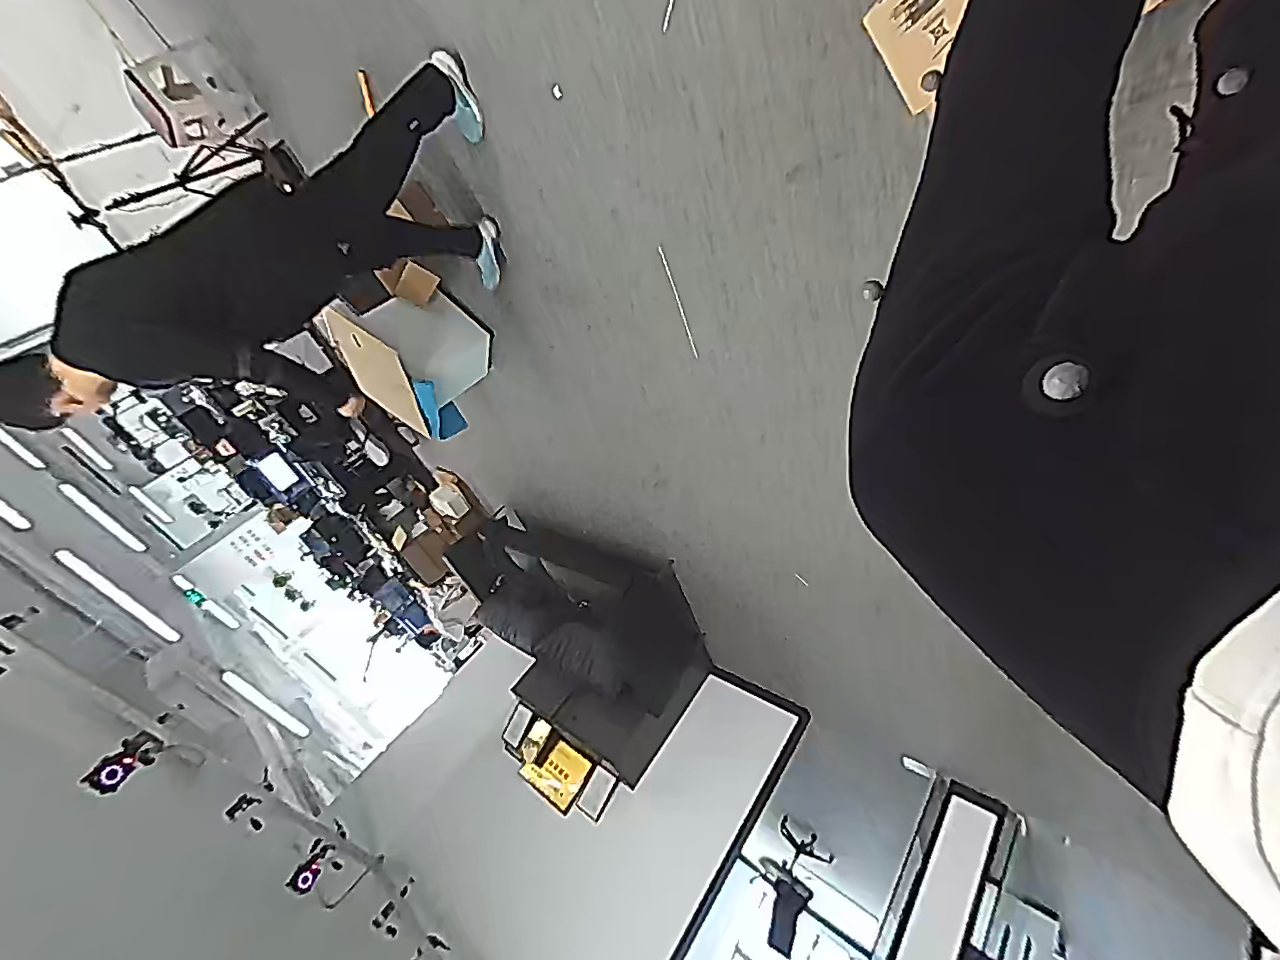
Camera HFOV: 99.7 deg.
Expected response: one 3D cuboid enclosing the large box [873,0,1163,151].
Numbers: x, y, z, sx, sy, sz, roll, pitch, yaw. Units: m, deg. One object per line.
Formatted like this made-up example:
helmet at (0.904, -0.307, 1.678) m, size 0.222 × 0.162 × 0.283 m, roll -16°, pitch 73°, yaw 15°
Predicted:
large box at (0.706, -0.884, 0.935) m, size 0.320 × 0.320 × 0.408 m, roll 49°, pitch 149°, yaw -9°
